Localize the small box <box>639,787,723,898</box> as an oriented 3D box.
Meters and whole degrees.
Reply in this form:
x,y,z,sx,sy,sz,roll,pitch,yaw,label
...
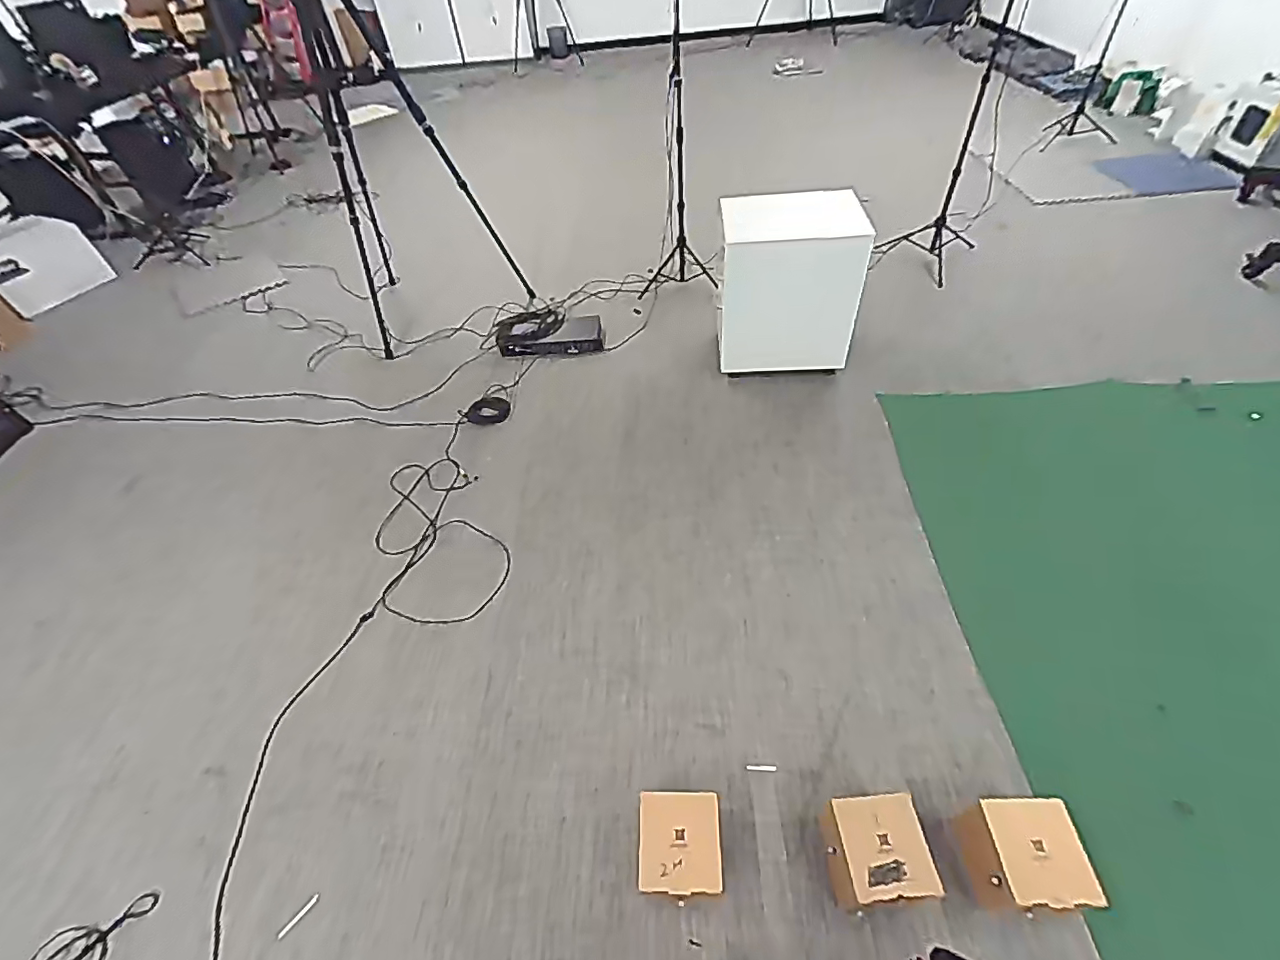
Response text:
x,y,z,sx,sy,sz,roll,pitch,yaw,label
0.089,0.778,1.161,0.168,0.176,0.179,-2,49,5,small box

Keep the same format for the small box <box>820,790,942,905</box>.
x,y,z,sx,sy,sz,roll,pitch,yaw,label
0.490,0.771,1.130,0.168,0.176,0.179,-5,47,0,small box

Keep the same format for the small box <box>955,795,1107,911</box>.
x,y,z,sx,sy,sz,roll,pitch,yaw,label
0.782,0.766,1.109,0.168,0.176,0.179,-3,48,4,small box
